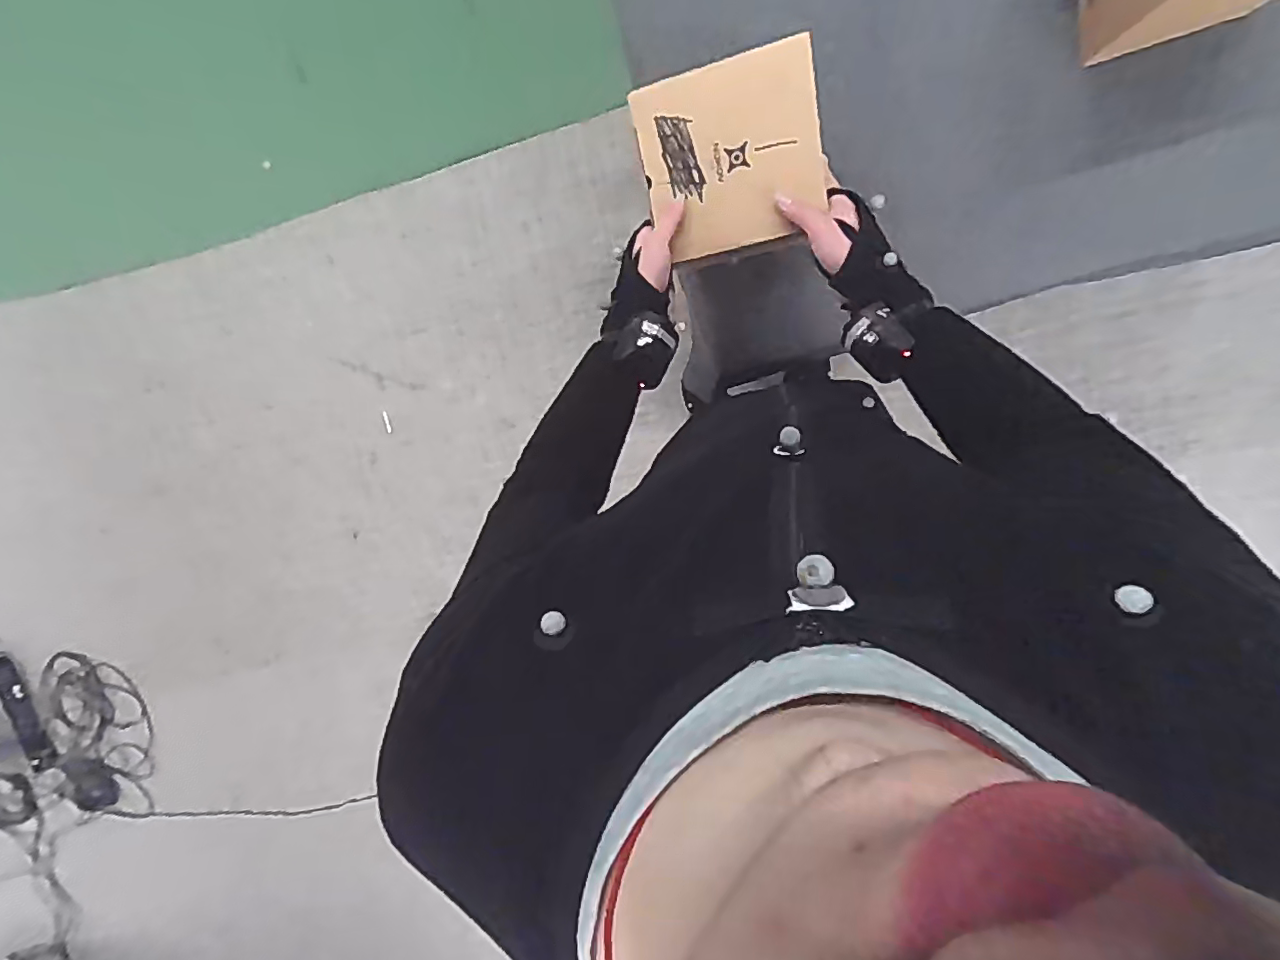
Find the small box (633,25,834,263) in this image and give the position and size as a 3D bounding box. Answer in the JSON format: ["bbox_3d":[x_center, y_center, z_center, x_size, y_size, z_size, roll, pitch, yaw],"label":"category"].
[{"bbox_3d":[0.106,-0.342,0.593,0.179,0.176,0.168,-7,109,14],"label":"small box"}]

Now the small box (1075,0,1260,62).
[{"bbox_3d":[0.586,-0.575,0.545,0.179,0.176,0.168,-13,102,10],"label":"small box"}]
